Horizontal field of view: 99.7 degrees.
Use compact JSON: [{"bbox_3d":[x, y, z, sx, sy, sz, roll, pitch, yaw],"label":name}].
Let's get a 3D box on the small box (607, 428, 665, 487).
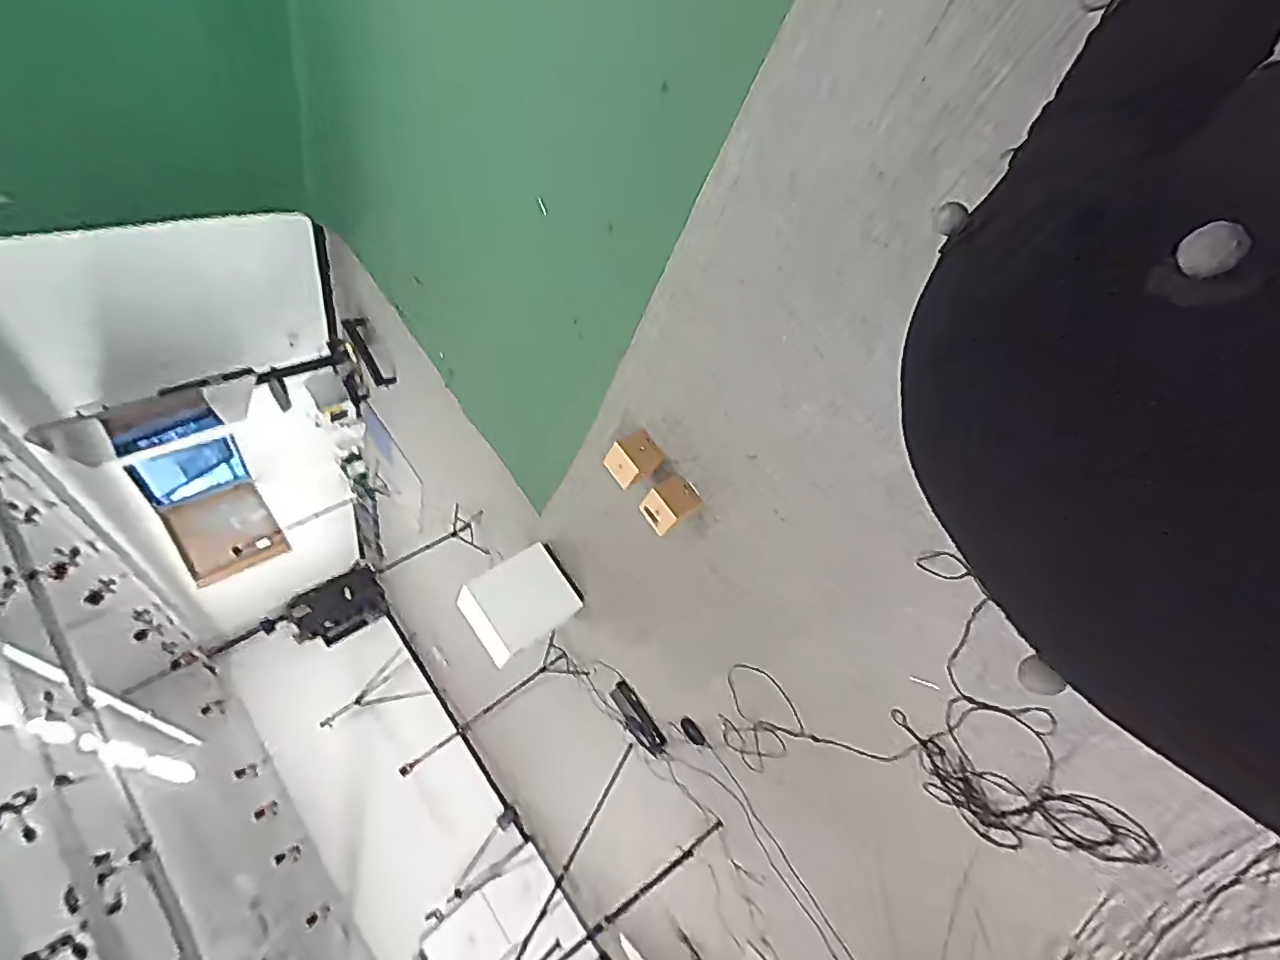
[{"bbox_3d":[-0.012,-0.104,2.395,0.168,0.176,0.179,53,144,13],"label":"small box"}]
